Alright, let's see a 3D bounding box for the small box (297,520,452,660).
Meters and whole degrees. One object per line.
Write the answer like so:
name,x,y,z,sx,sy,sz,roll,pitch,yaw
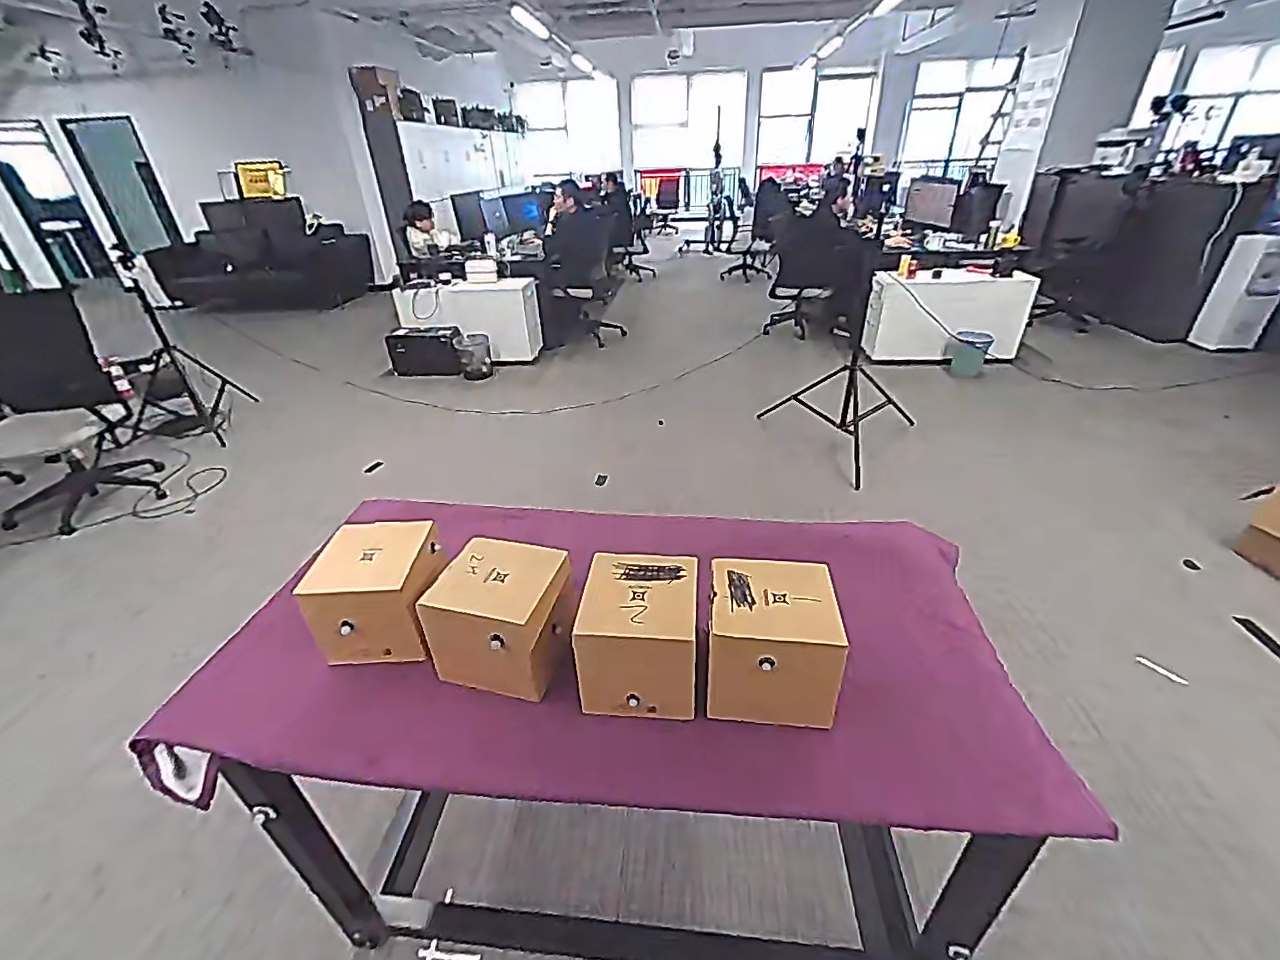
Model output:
small box,-0.437,0.191,0.928,0.168,0.176,0.179,-3,32,-1
